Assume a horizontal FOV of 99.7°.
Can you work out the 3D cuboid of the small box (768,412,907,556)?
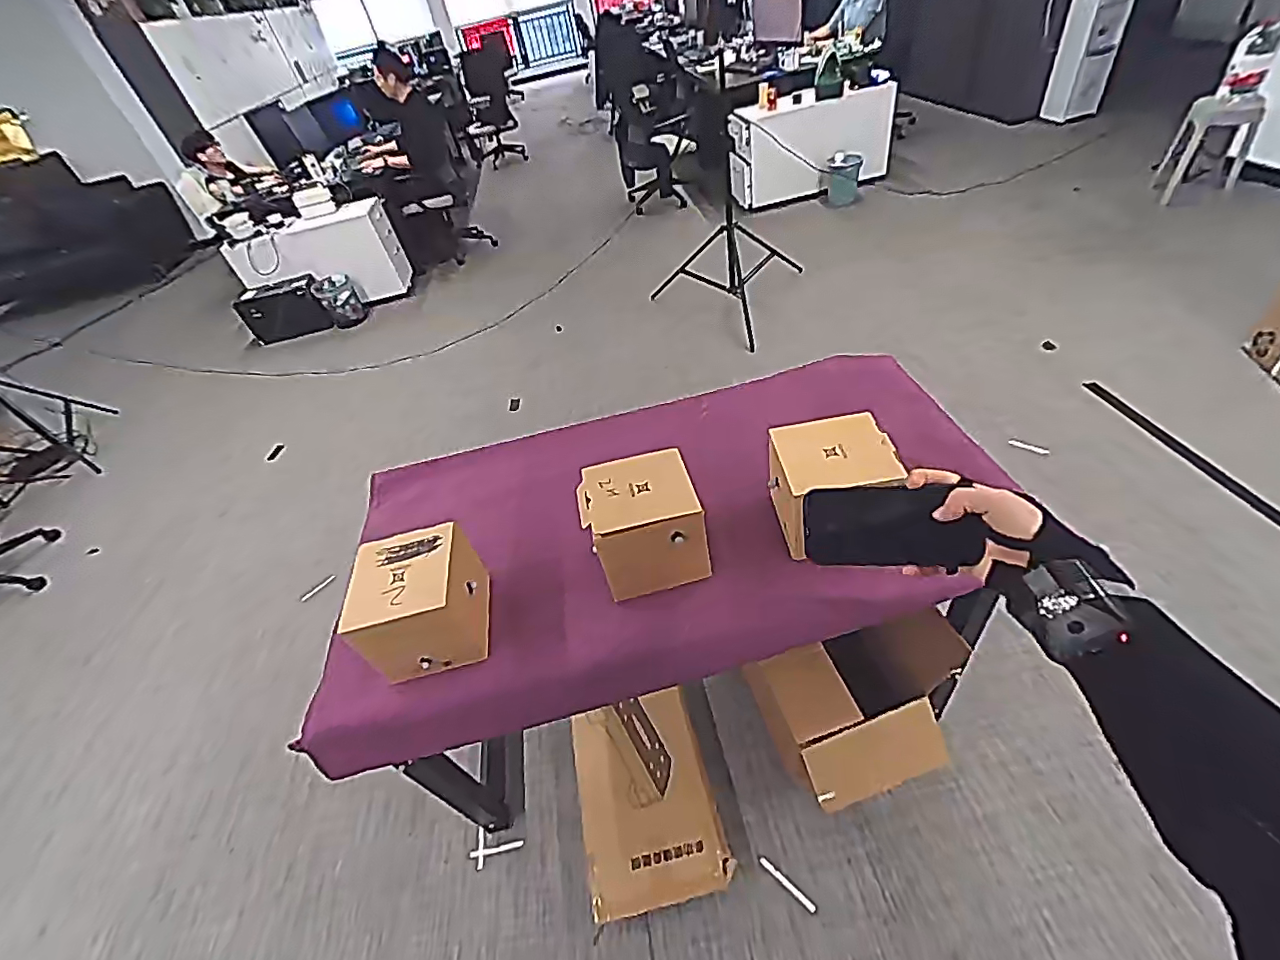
[{"bbox_3d":[0.324,0.012,0.921,0.179,0.176,0.168,-10,43,4],"label":"small box"}]

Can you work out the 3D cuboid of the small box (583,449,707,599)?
[{"bbox_3d":[0.013,0.077,0.932,0.179,0.176,0.168,-15,41,-1],"label":"small box"}]
